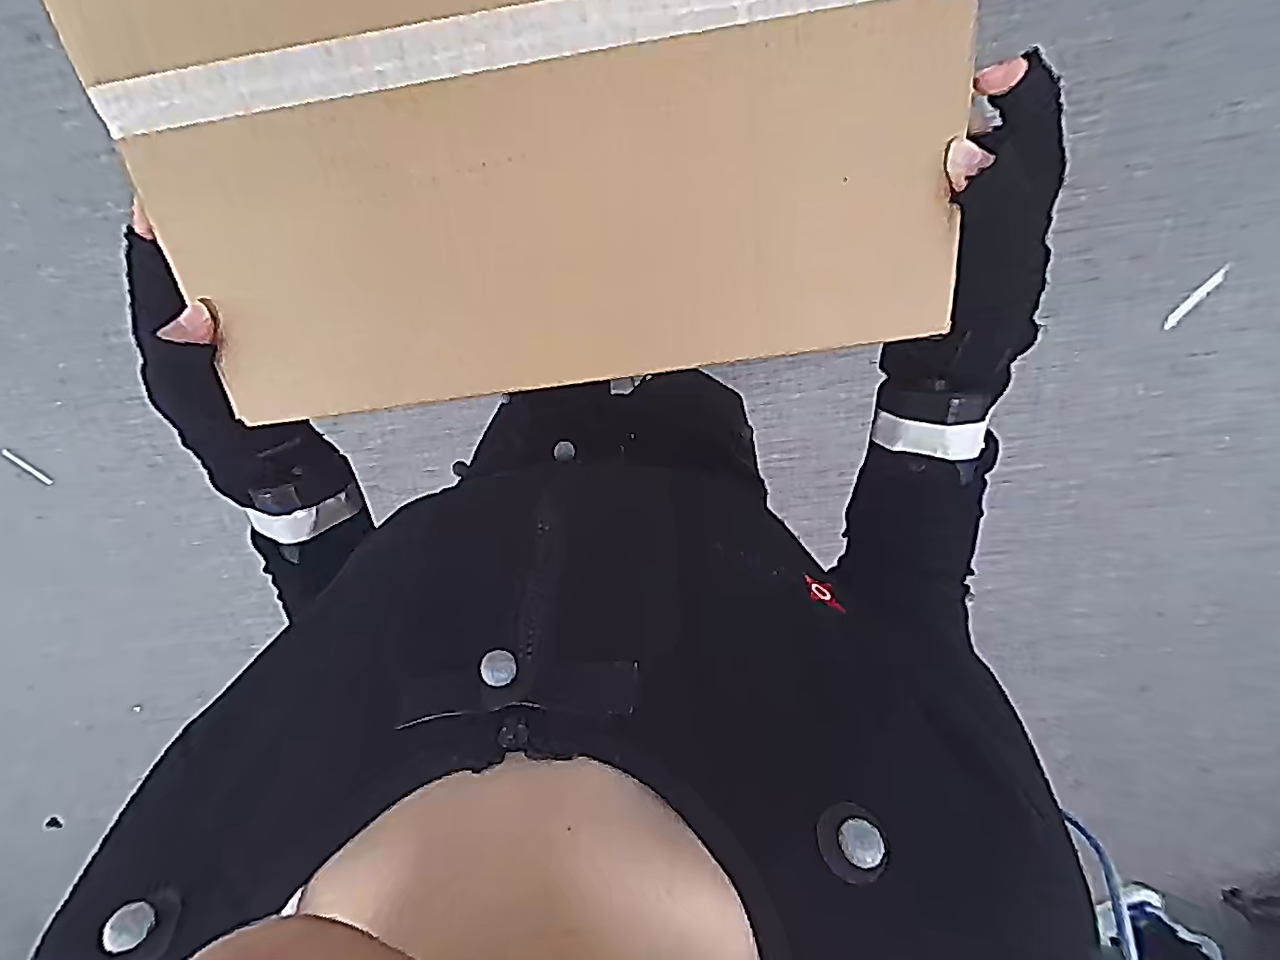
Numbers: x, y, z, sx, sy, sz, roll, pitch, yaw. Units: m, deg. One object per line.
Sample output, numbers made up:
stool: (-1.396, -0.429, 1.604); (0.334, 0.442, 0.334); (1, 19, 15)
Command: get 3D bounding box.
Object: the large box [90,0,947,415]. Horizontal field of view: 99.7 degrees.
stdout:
large box: (-0.055, -0.261, 0.396); (0.408, 0.320, 0.320); (-7, 113, 4)
